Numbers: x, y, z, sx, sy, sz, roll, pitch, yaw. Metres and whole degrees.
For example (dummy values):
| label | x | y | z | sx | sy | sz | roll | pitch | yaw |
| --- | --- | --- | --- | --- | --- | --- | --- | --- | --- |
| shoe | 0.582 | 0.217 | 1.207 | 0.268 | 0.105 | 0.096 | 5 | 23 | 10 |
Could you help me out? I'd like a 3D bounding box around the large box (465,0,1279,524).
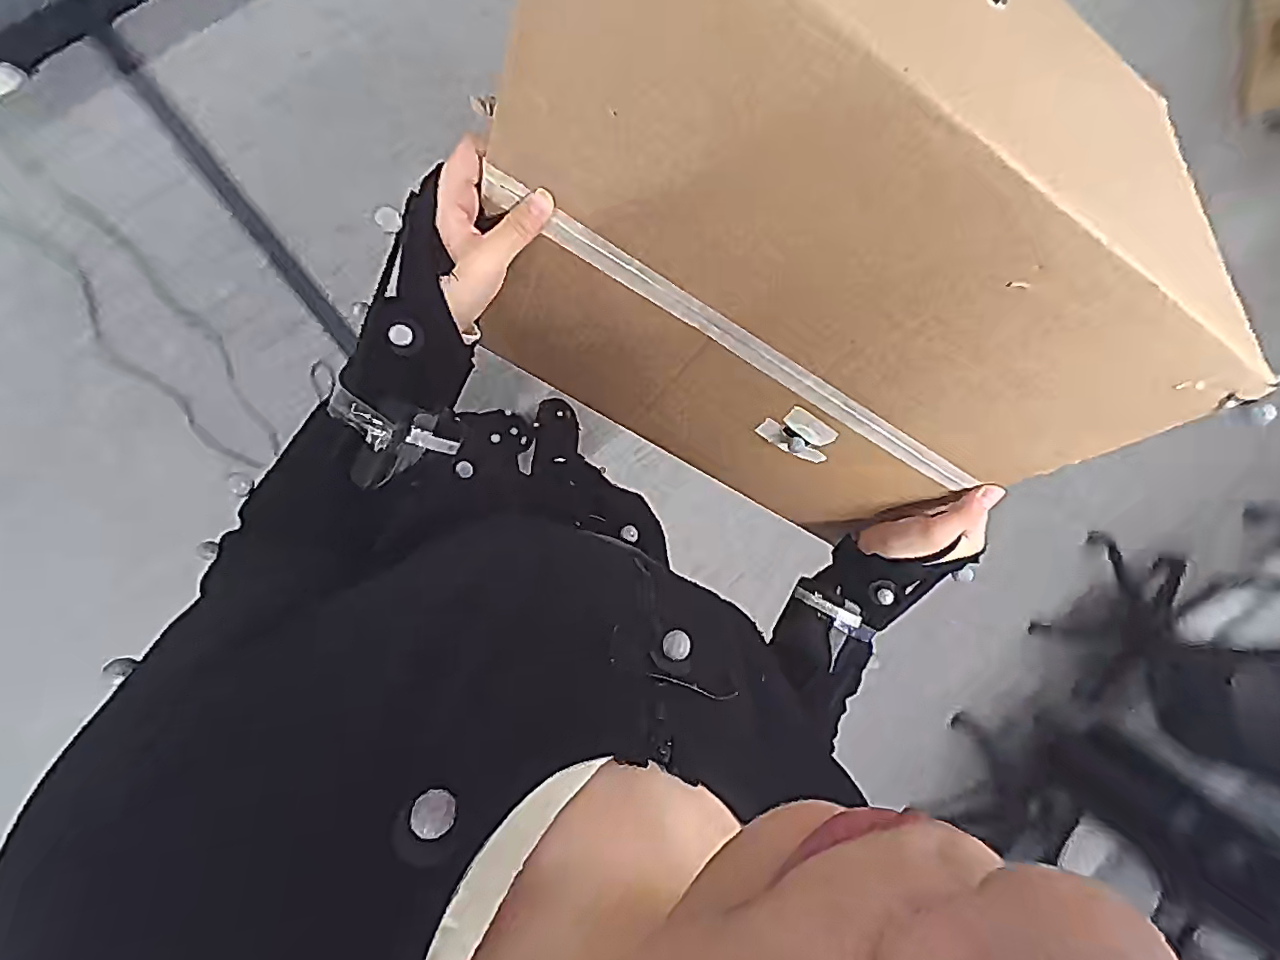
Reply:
| label | x | y | z | sx | sy | sz | roll | pitch | yaw |
| --- | --- | --- | --- | --- | --- | --- | --- | --- | --- |
| large box | 0.132 | -0.221 | 0.411 | 0.408 | 0.320 | 0.320 | 26 | 61 | -13 |
